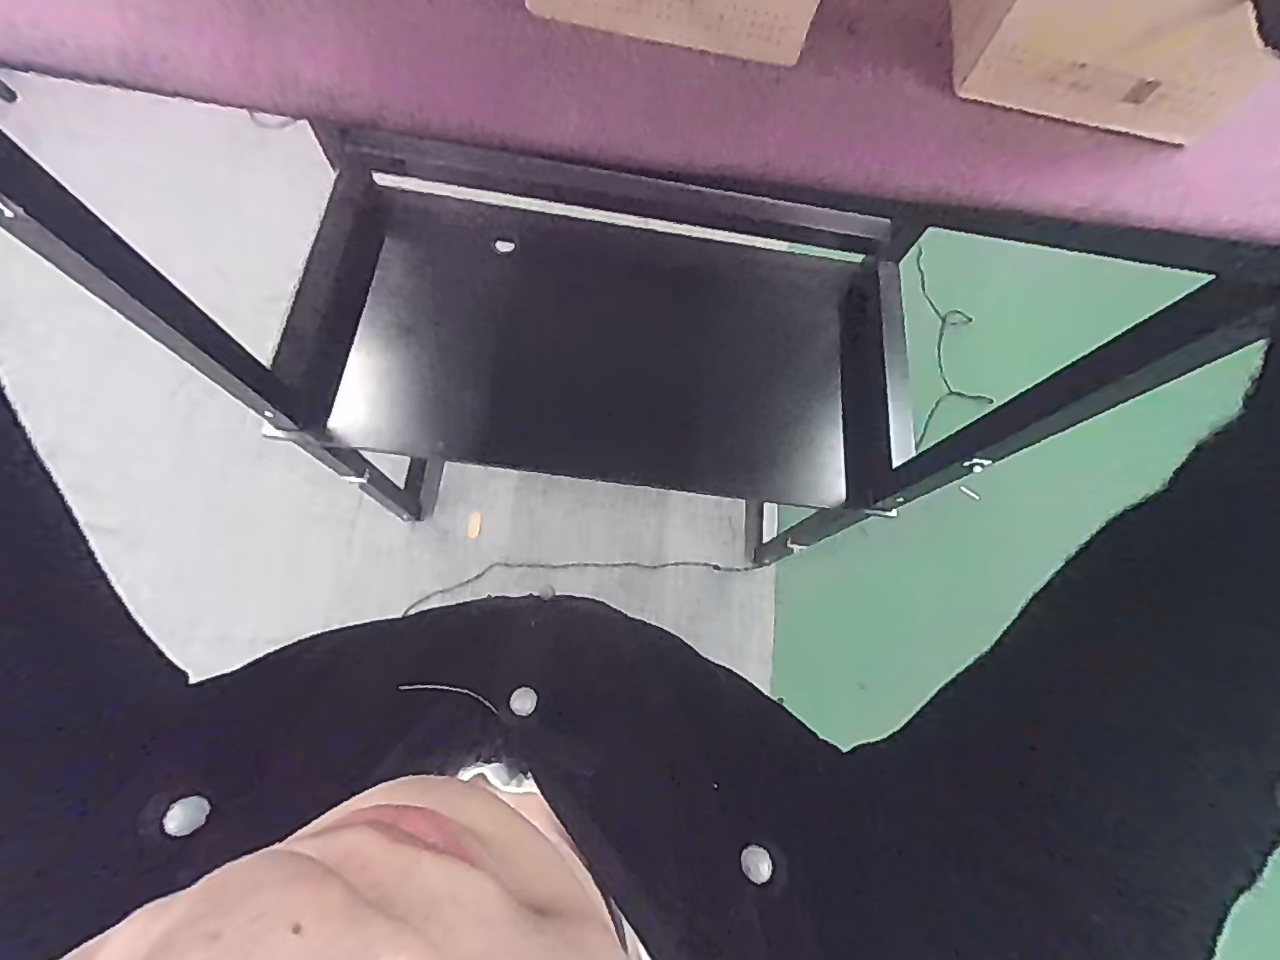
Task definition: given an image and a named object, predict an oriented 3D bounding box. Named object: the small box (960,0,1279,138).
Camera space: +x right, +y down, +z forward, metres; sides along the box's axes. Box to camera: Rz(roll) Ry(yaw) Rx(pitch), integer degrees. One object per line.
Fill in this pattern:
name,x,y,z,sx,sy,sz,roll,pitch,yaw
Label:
small box,0.311,-0.338,0.307,0.168,0.176,0.179,12,70,-3
